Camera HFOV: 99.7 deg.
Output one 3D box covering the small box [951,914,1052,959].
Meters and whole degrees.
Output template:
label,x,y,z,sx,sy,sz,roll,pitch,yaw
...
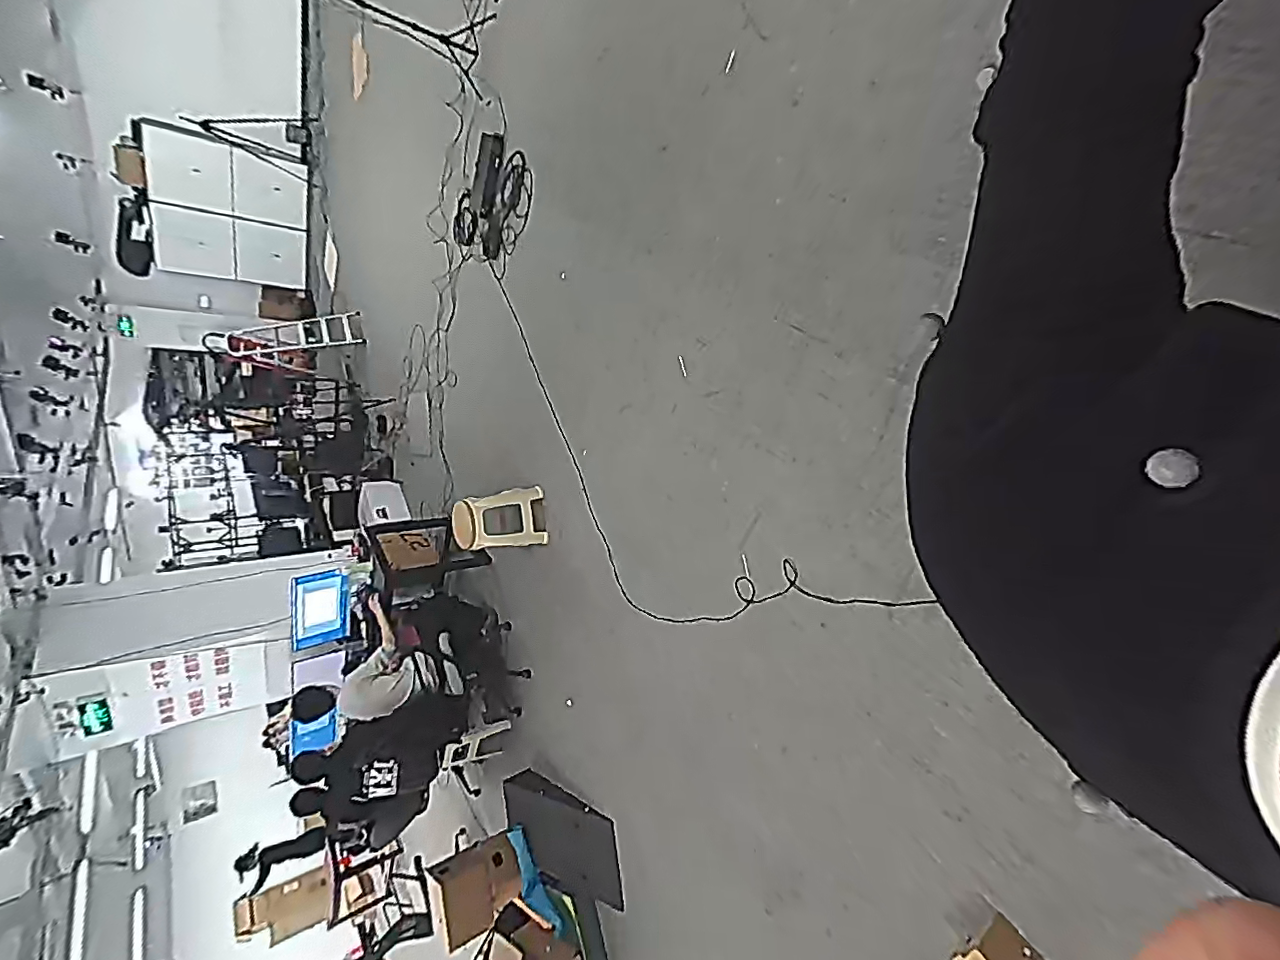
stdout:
label,x,y,z,sx,sy,sz,roll,pitch,yaw
small box,0.961,1.293,1.421,0.179,0.176,0.168,45,128,38
